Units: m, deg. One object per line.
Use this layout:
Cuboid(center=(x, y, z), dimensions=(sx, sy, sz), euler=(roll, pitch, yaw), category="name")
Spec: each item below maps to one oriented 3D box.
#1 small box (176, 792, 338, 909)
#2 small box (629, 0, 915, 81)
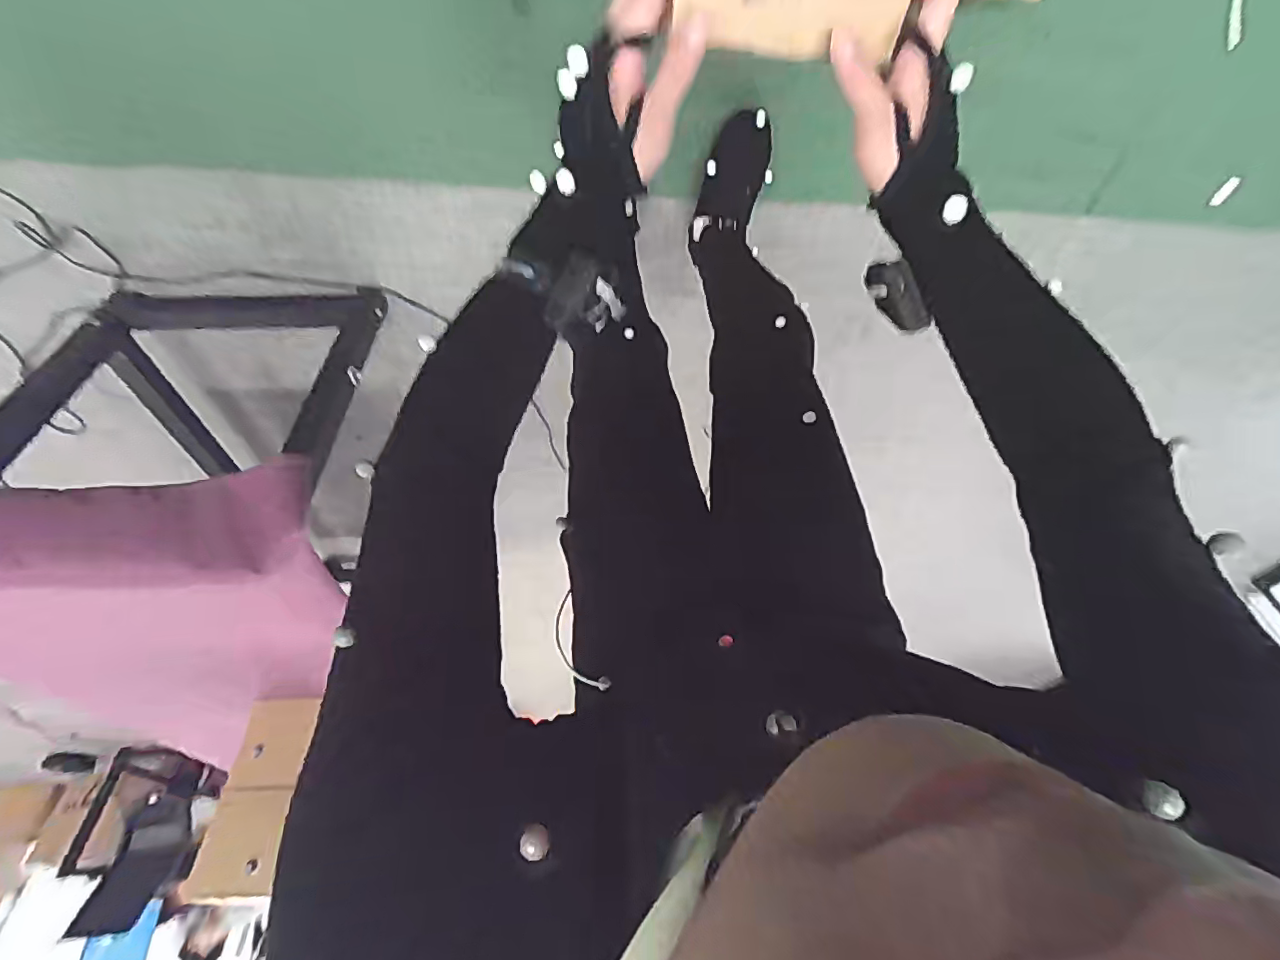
Cuboid(center=(-0.693, 0.693, 1.012), dimensions=(0.179, 0.176, 0.168), euler=(1, 140, -3), category="small box")
Cuboid(center=(0.092, -0.401, 0.371), dimensions=(0.168, 0.176, 0.179), euler=(-3, 134, -13), category="small box")
